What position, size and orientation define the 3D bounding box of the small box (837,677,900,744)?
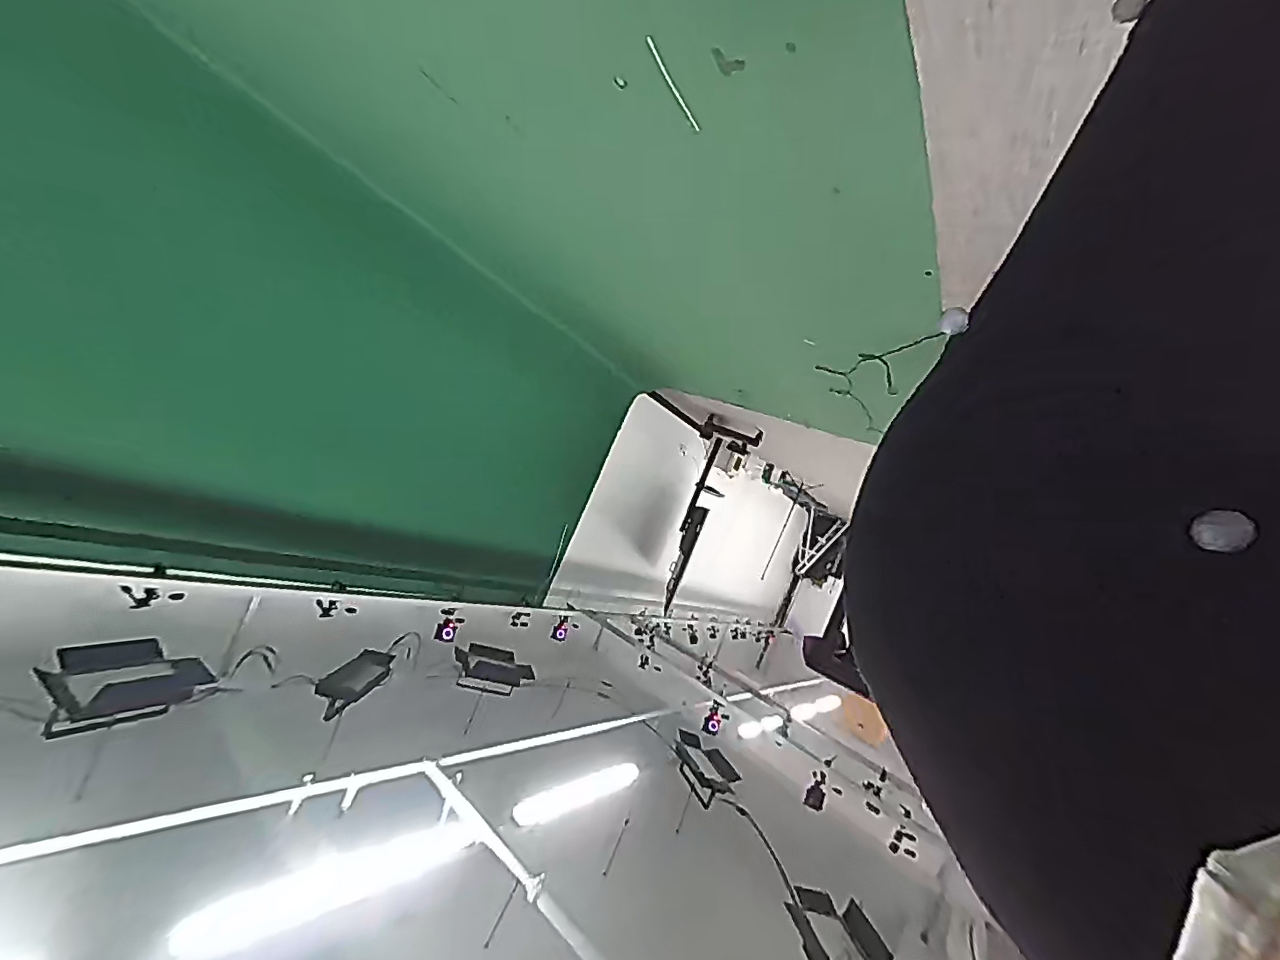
[{"bbox_3d":[0.904,0.901,2.125,0.179,0.176,0.168,22,179,35],"label":"small box"}]
